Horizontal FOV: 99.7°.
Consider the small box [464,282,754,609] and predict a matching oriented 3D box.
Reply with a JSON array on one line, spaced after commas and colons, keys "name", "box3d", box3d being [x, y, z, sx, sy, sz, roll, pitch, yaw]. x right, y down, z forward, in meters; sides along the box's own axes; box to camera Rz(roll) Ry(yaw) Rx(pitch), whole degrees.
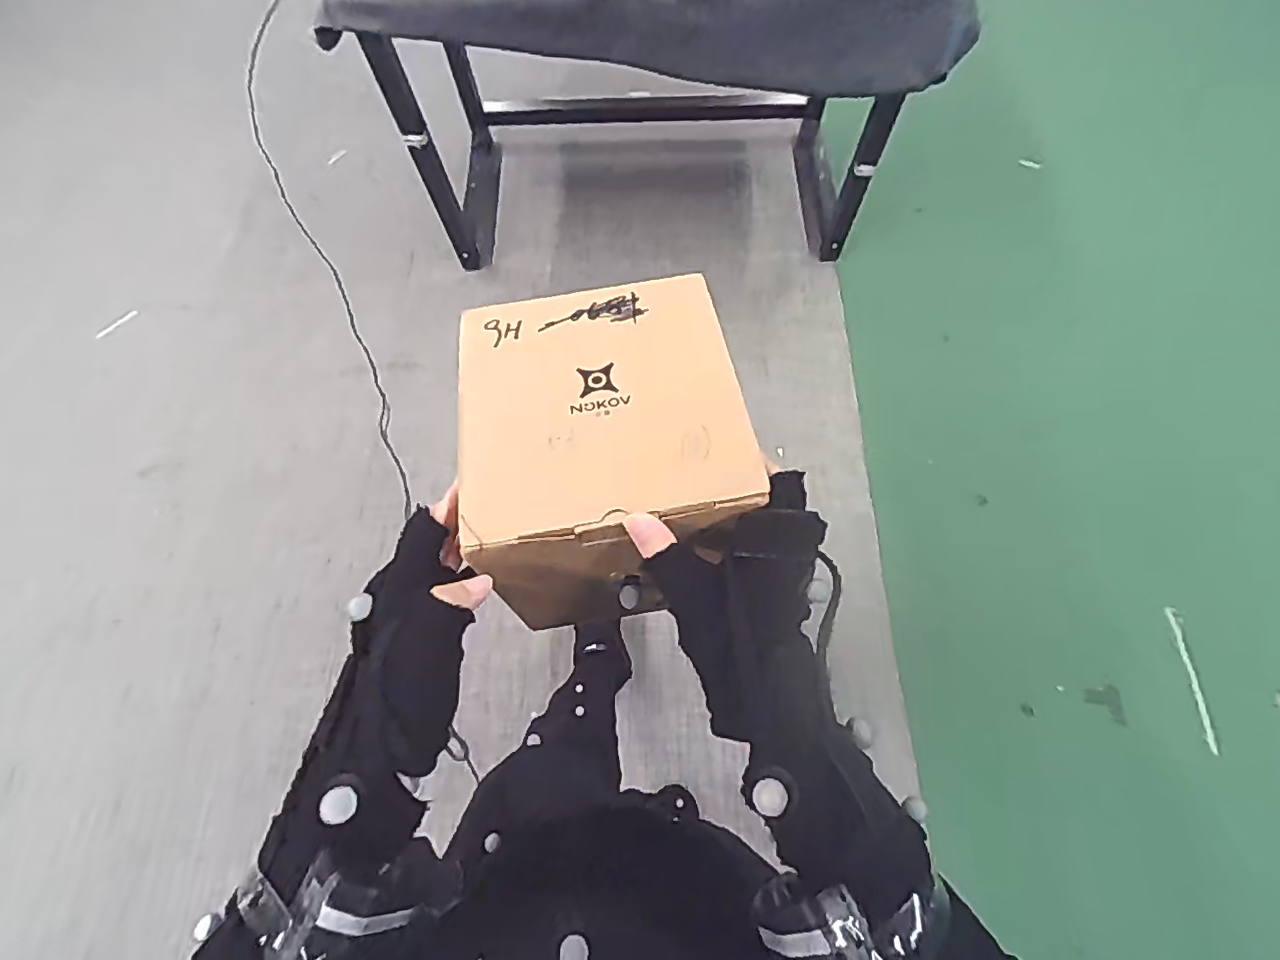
[{"name": "small box", "box3d": [-0.022, -0.012, 0.405, 0.168, 0.176, 0.179, -10, 61, -1]}]
